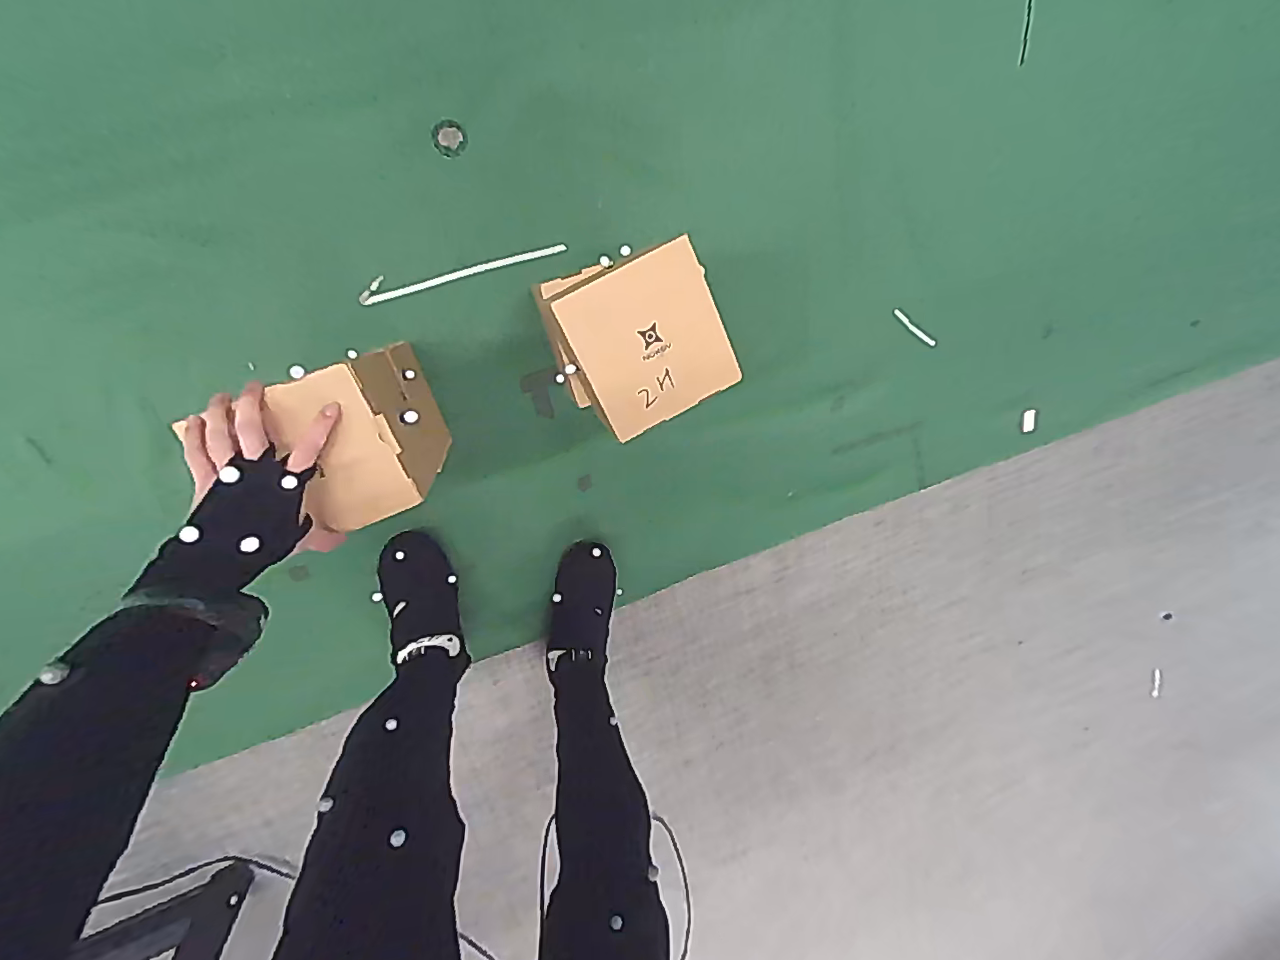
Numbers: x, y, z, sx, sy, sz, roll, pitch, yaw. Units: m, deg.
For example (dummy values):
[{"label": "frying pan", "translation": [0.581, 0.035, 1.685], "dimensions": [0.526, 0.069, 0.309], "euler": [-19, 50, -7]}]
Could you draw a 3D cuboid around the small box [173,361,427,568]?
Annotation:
[{"label": "small box", "translation": [-0.366, -0.031, 0.632], "dimensions": [0.179, 0.176, 0.168], "euler": [-23, 110, -7]}]

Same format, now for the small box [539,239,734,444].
[{"label": "small box", "translation": [-0.014, -0.171, 0.671], "dimensions": [0.168, 0.176, 0.179], "euler": [-28, 112, -3]}]

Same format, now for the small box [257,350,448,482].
[{"label": "small box", "translation": [-0.397, -0.077, 0.788], "dimensions": [0.168, 0.176, 0.179], "euler": [-21, 110, -6]}]
